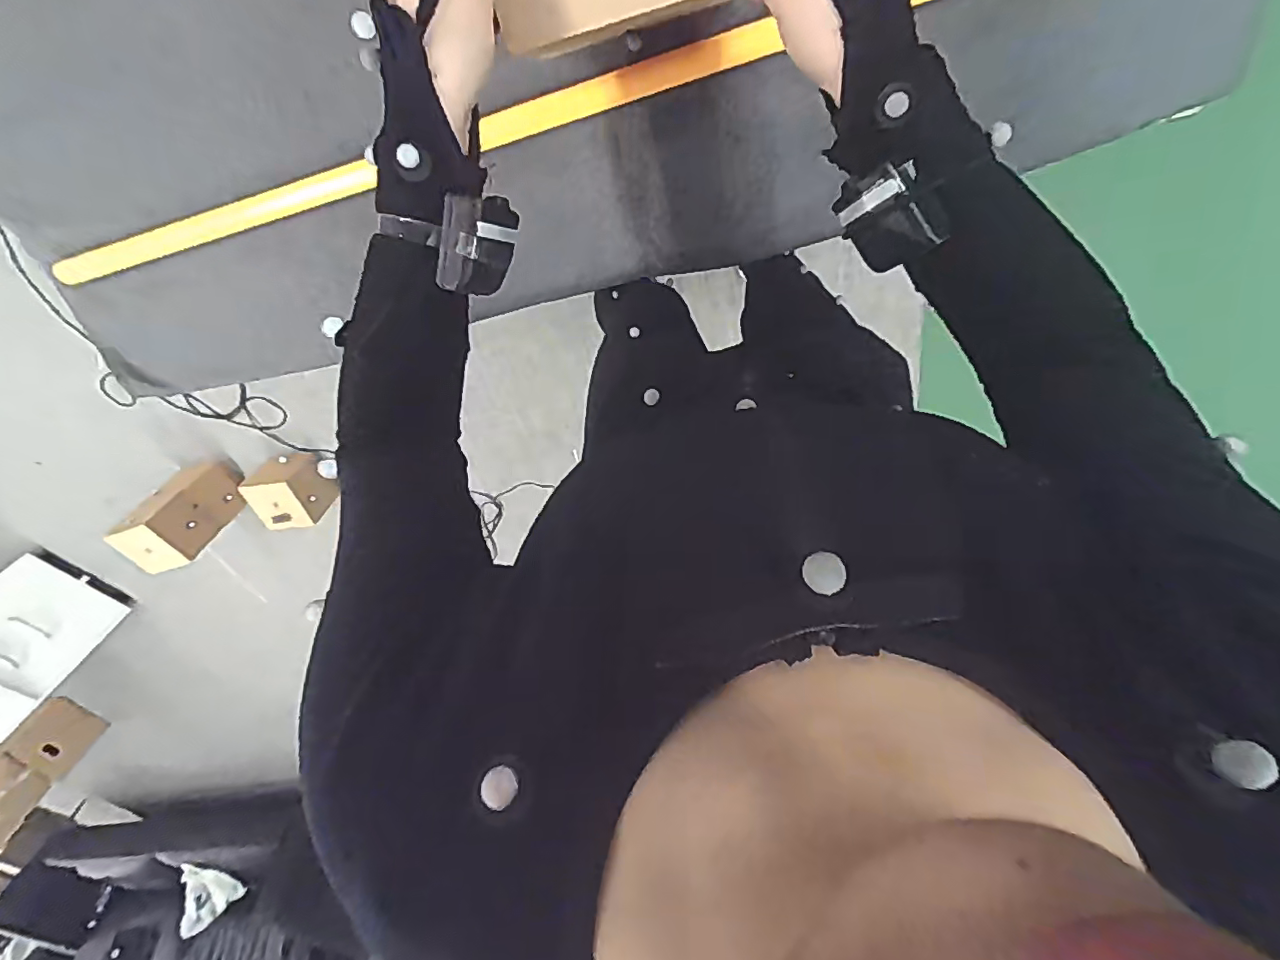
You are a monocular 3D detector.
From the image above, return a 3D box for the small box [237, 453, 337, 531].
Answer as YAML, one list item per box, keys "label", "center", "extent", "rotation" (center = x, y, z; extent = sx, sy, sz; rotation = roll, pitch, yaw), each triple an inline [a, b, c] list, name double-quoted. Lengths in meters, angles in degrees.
- label: "small box"
  center: [-1.107, 0.037, 1.715]
  extent: [0.168, 0.176, 0.179]
  rotation: [-6, 127, 8]

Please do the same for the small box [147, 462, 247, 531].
- label: "small box"
  center: [-1.421, 0.061, 1.757]
  extent: [0.179, 0.176, 0.168]
  rotation: [-13, 127, 14]

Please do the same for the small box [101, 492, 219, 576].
- label: "small box"
  center: [-1.423, 0.158, 1.624]
  extent: [0.179, 0.176, 0.168]
  rotation: [-14, 126, 15]
